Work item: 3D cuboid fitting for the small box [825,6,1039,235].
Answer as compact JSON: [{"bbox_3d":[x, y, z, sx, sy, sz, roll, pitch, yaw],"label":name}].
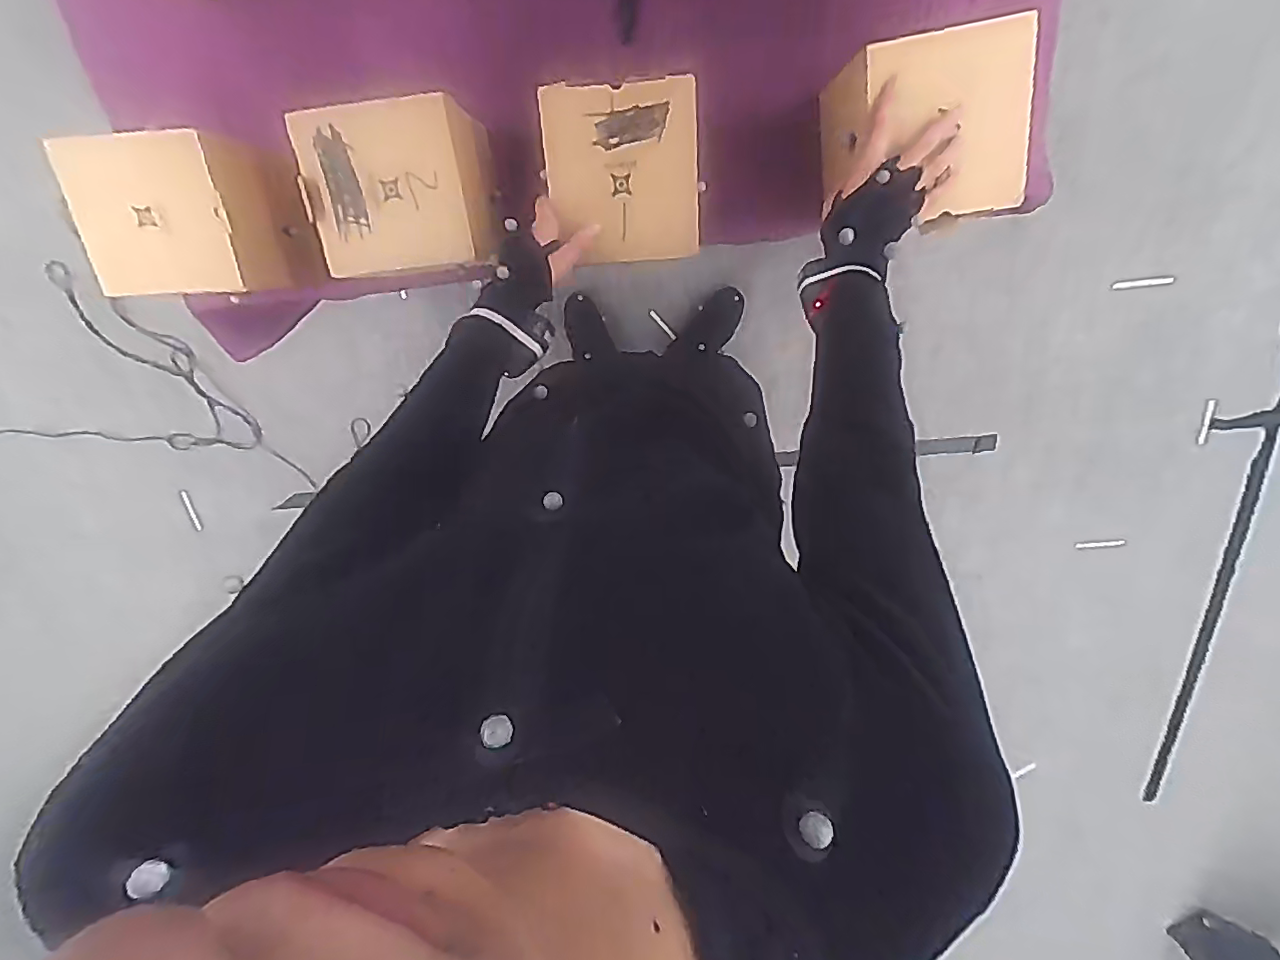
[{"bbox_3d":[0.323,-0.398,0.634,0.168,0.176,0.179,-8,112,6],"label":"small box"}]
